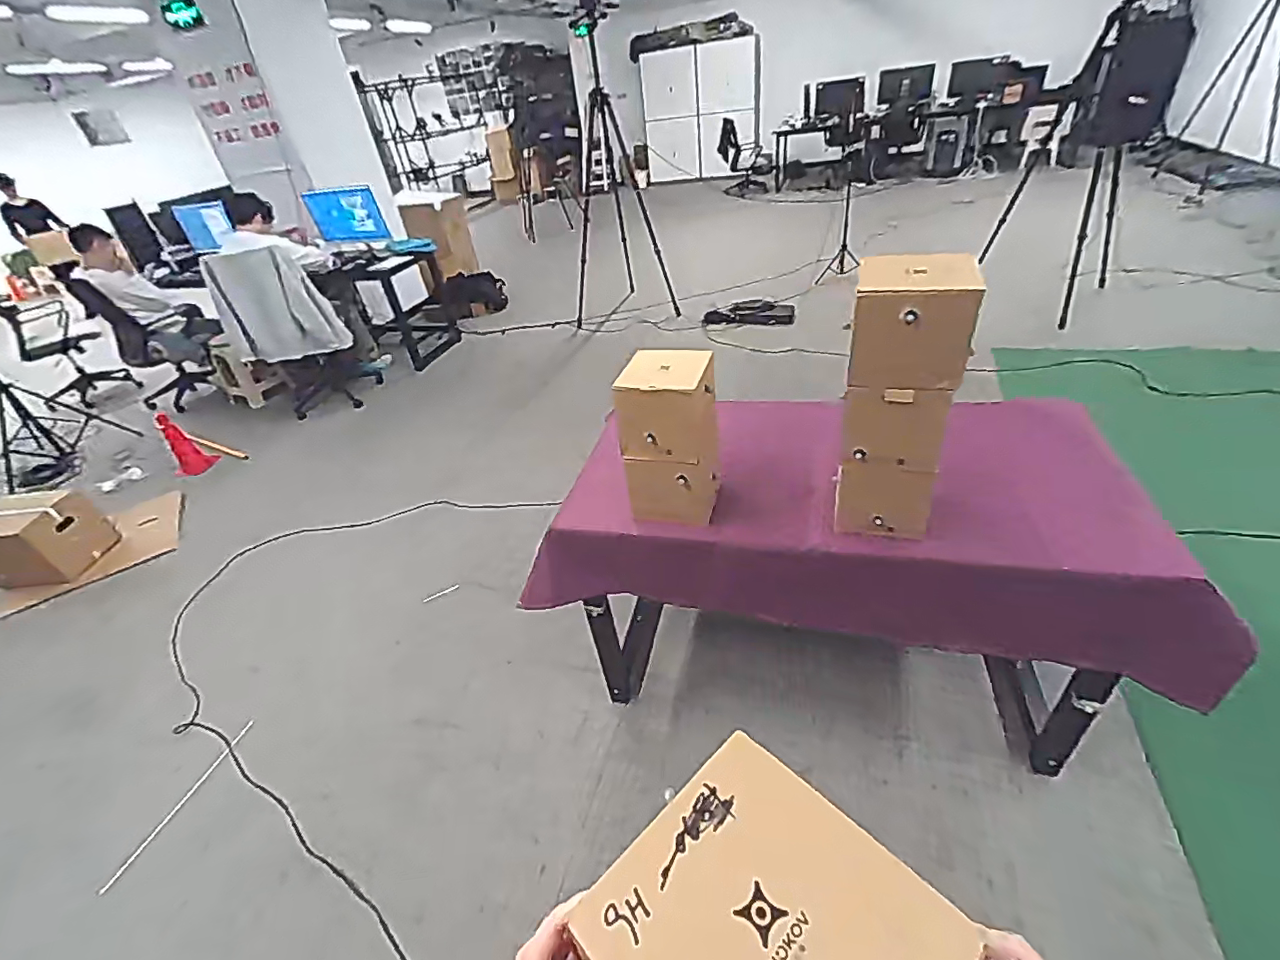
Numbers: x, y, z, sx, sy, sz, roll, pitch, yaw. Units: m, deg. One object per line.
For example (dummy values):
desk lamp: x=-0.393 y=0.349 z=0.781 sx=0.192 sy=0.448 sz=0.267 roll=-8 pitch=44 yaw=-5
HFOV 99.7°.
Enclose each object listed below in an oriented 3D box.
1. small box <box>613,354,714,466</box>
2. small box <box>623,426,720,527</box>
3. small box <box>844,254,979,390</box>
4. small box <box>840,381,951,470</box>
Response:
small box: x=0.057 y=-0.148 z=1.121 sx=0.168 sy=0.176 sz=0.179 roll=4 pitch=39 yaw=19
small box: x=0.080 y=-0.012 z=1.208 sx=0.179 sy=0.176 sz=0.168 roll=4 pitch=37 yaw=18
small box: x=0.441 y=-0.261 z=0.899 sx=0.179 sy=0.176 sz=0.168 roll=7 pitch=41 yaw=22
small box: x=0.465 y=-0.134 z=0.999 sx=0.168 sy=0.176 sz=0.179 roll=5 pitch=38 yaw=21
